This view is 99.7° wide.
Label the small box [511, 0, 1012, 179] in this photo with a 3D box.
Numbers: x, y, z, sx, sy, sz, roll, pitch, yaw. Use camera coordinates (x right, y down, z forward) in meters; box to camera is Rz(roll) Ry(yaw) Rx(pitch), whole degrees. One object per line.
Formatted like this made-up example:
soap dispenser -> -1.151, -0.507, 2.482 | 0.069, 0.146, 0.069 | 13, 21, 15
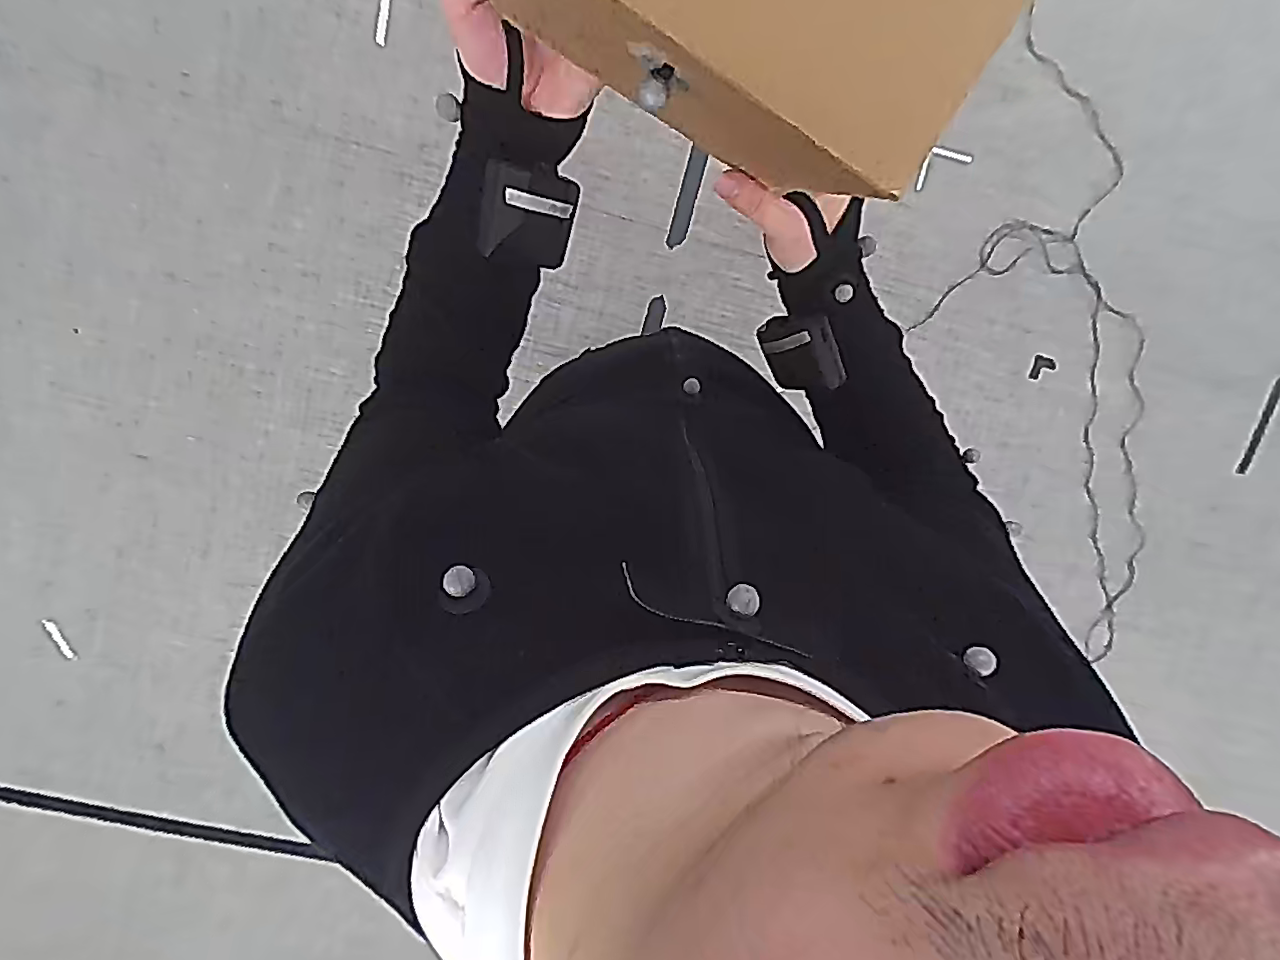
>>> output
small box -> 0.047, -0.245, 0.216 | 0.179, 0.176, 0.168 | 20, 116, -19
